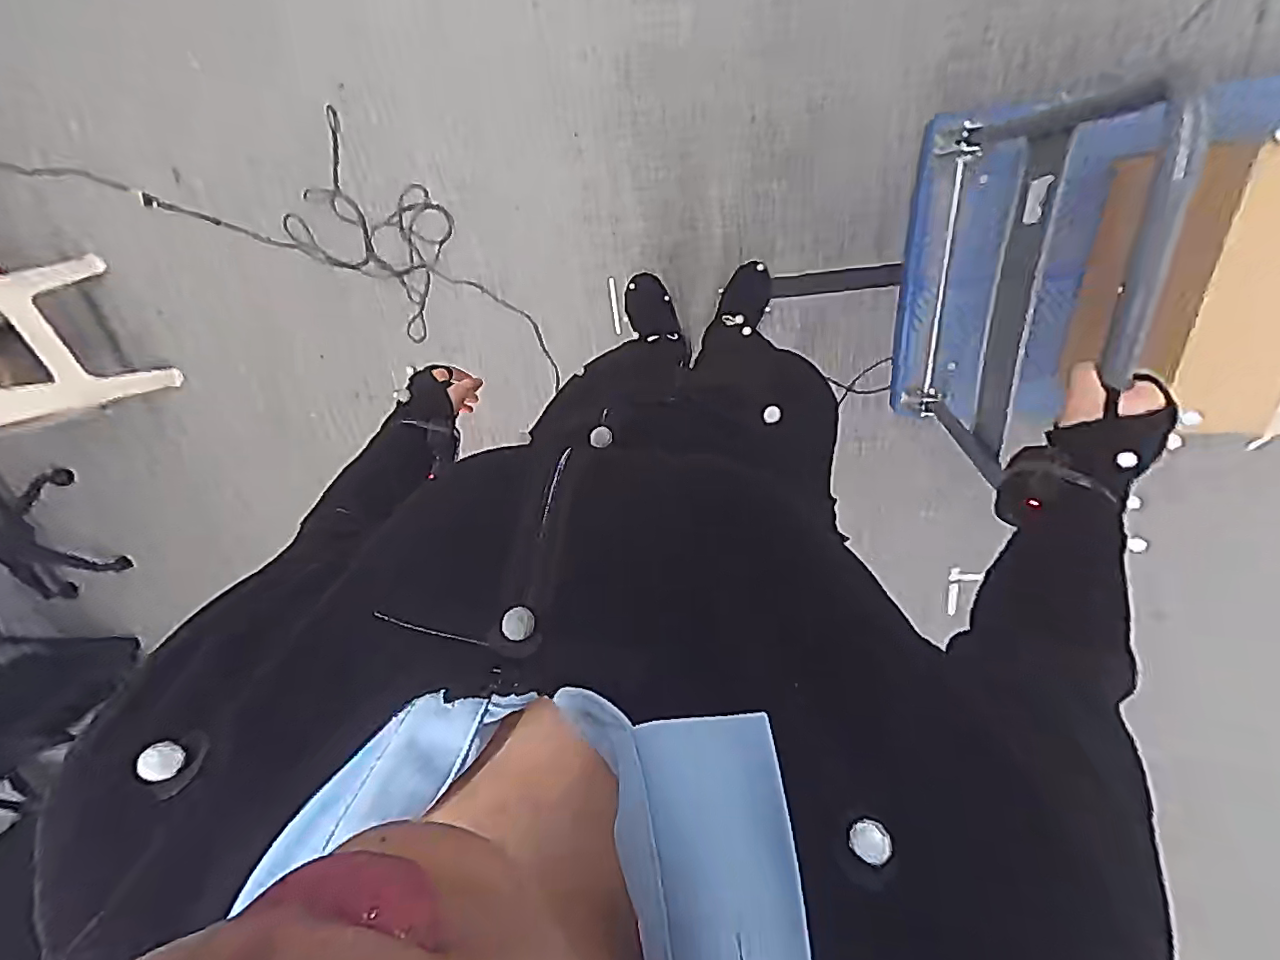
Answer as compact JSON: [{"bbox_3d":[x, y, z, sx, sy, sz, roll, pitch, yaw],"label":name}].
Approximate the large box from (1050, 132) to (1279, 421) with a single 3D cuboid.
[{"bbox_3d":[0.972,-0.339,0.908,0.320,0.320,0.408,0,115,9],"label":"large box"}]
